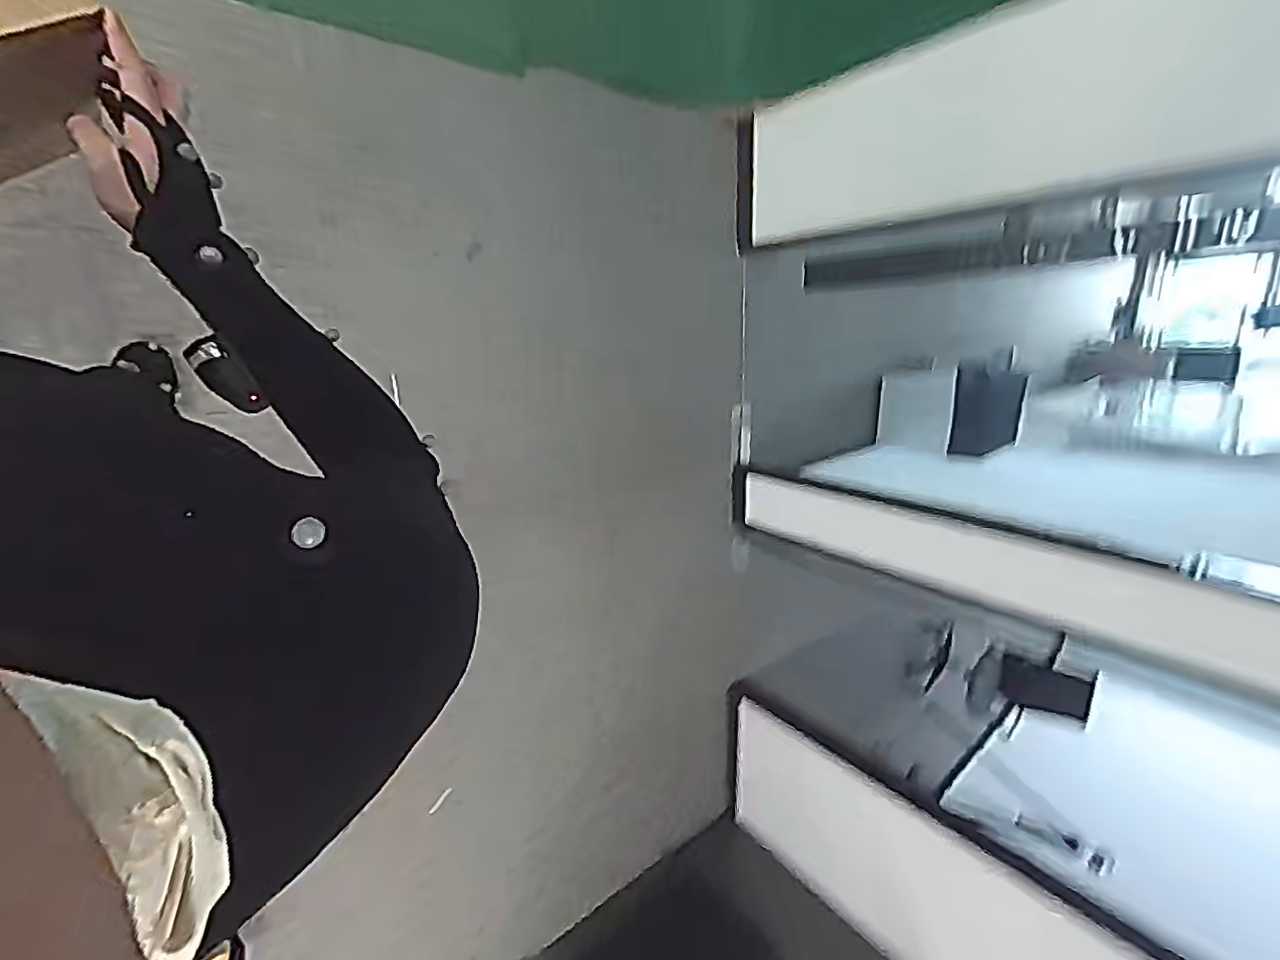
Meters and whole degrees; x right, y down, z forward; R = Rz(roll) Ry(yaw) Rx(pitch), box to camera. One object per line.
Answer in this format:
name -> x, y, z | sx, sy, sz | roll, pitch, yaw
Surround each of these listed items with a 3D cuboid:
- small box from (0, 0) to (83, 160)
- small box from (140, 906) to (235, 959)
small box -> -0.527, -0.321, 0.349 | 0.168, 0.176, 0.179 | 47, 54, -28
small box -> -1.195, 1.286, 1.431 | 0.168, 0.176, 0.179 | -17, 112, -35
